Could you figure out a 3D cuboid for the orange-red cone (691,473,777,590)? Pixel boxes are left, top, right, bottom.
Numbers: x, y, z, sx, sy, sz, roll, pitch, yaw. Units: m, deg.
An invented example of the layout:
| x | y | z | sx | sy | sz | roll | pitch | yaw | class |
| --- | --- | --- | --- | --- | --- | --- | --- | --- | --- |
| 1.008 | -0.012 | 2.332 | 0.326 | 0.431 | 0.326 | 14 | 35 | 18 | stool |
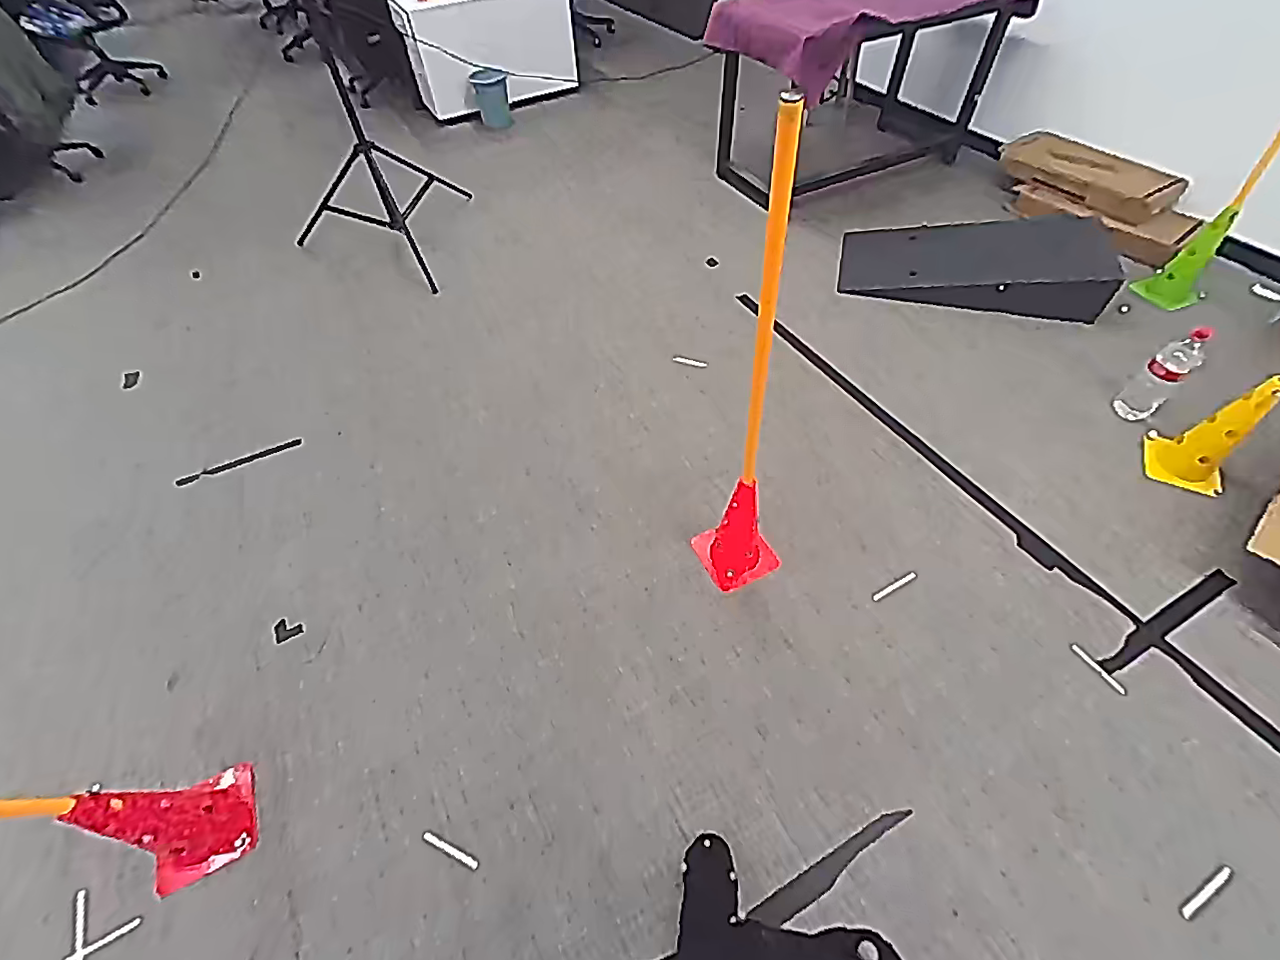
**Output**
| x | y | z | sx | sy | sz | roll | pitch | yaw | class |
| --- | --- | --- | --- | --- | --- | --- | --- | --- | --- |
| 0.264 | 0.103 | 1.424 | 0.199 | 0.360 | 0.198 | -22 | 55 | -14 | orange-red cone |
